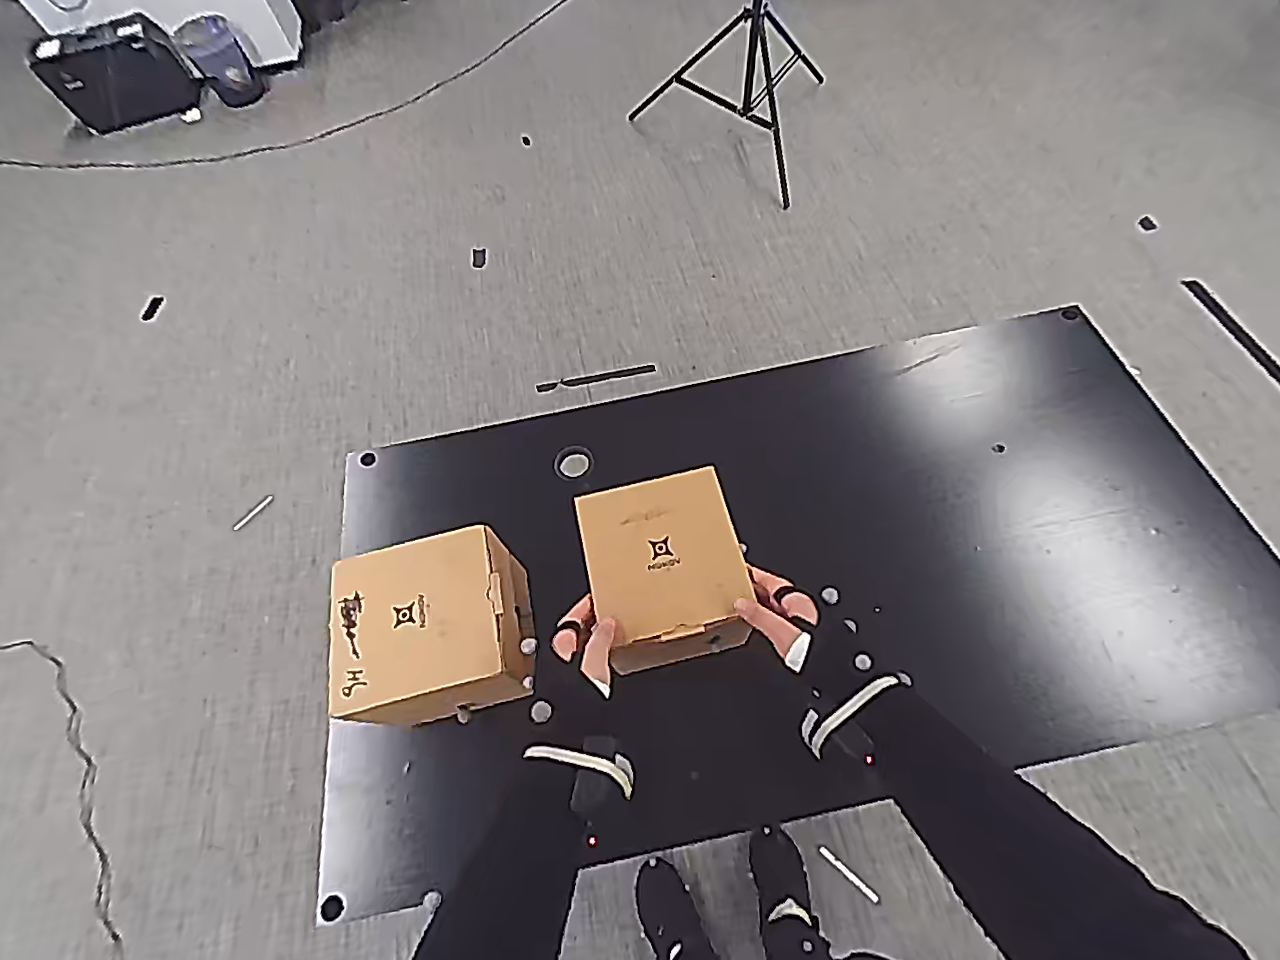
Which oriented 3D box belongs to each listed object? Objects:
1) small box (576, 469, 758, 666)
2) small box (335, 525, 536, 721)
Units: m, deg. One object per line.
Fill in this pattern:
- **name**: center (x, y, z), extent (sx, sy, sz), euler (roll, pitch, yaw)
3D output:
- **small box**: center (0.029, 0.115, 0.650), extent (0.168, 0.176, 0.179), euler (-13, 62, -4)
- **small box**: center (-0.227, 0.174, 0.637), extent (0.179, 0.176, 0.168), euler (-13, 62, -4)
